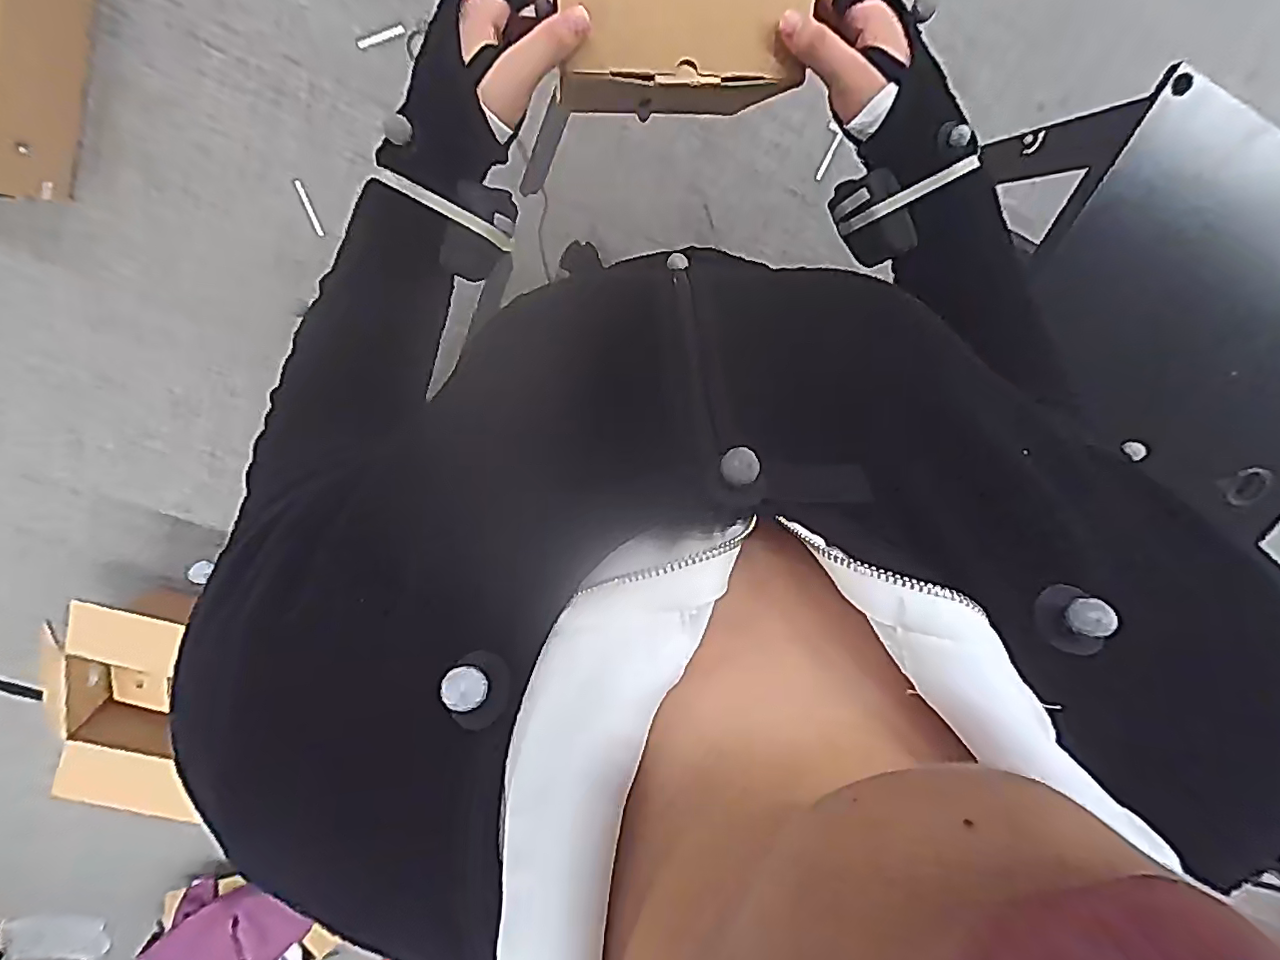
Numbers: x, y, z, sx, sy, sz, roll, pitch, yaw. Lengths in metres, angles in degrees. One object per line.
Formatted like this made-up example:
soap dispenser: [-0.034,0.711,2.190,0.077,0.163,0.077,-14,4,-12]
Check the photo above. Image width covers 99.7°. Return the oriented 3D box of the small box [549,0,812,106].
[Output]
small box: [0.018,-0.383,0.382,0.168,0.176,0.179,-4,119,-7]
